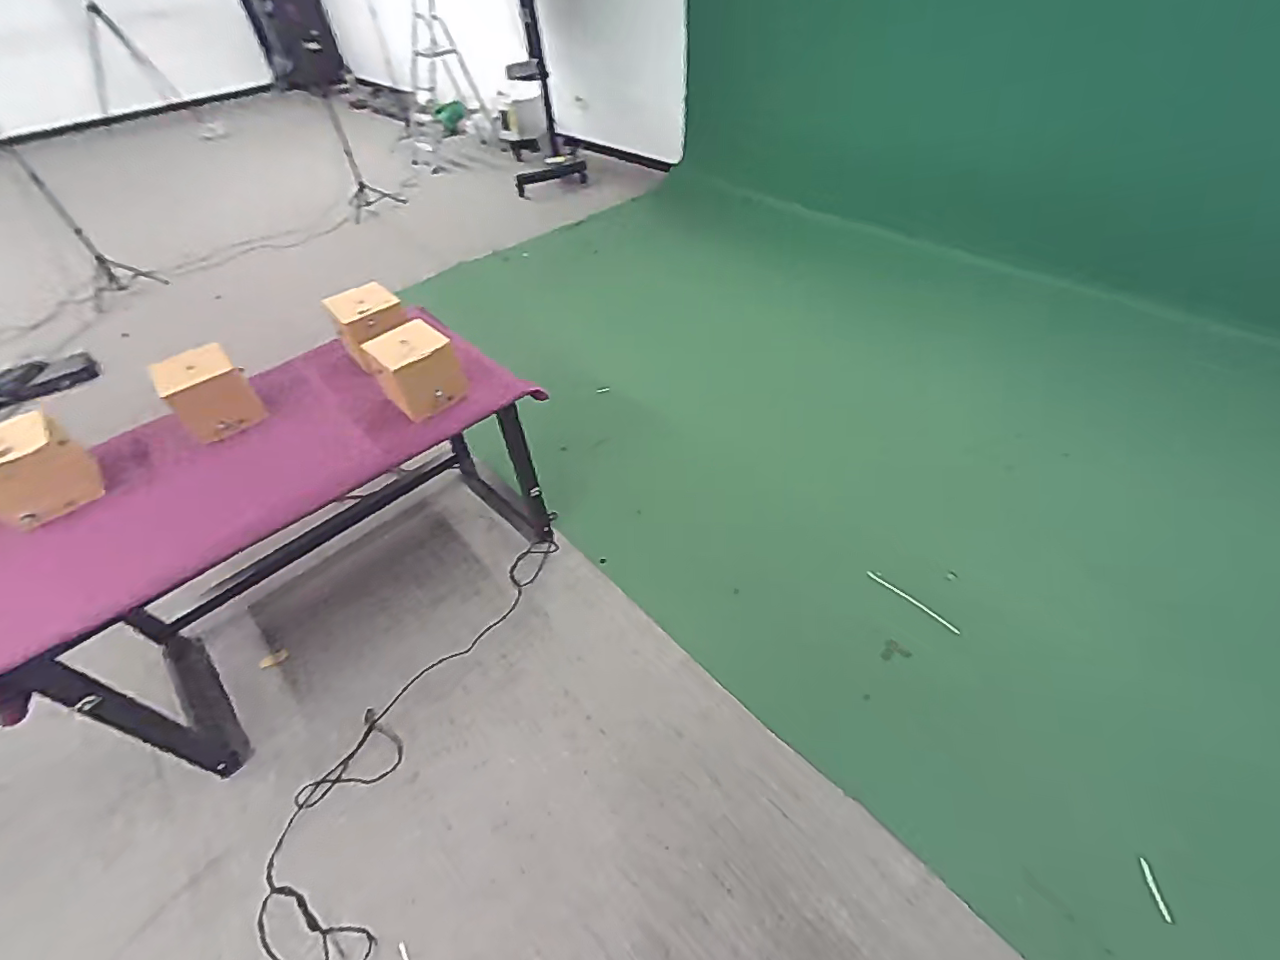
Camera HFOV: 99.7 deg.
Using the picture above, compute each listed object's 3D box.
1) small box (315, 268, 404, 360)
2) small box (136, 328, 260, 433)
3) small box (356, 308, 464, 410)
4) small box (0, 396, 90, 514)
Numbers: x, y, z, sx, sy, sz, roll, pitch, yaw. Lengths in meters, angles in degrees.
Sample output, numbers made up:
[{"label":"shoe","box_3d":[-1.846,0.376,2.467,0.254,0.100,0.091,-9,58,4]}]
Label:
[{"label":"small box","box_3d":[-0.786,-0.474,1.551,0.168,0.176,0.179,-36,56,-25]},{"label":"small box","box_3d":[-1.113,-0.251,1.370,0.168,0.176,0.179,-34,56,-24]},{"label":"small box","box_3d":[-0.585,-0.308,1.391,0.168,0.176,0.179,-38,57,-25]},{"label":"small box","box_3d":[-1.382,-0.049,1.197,0.168,0.176,0.179,-35,56,-26]}]
